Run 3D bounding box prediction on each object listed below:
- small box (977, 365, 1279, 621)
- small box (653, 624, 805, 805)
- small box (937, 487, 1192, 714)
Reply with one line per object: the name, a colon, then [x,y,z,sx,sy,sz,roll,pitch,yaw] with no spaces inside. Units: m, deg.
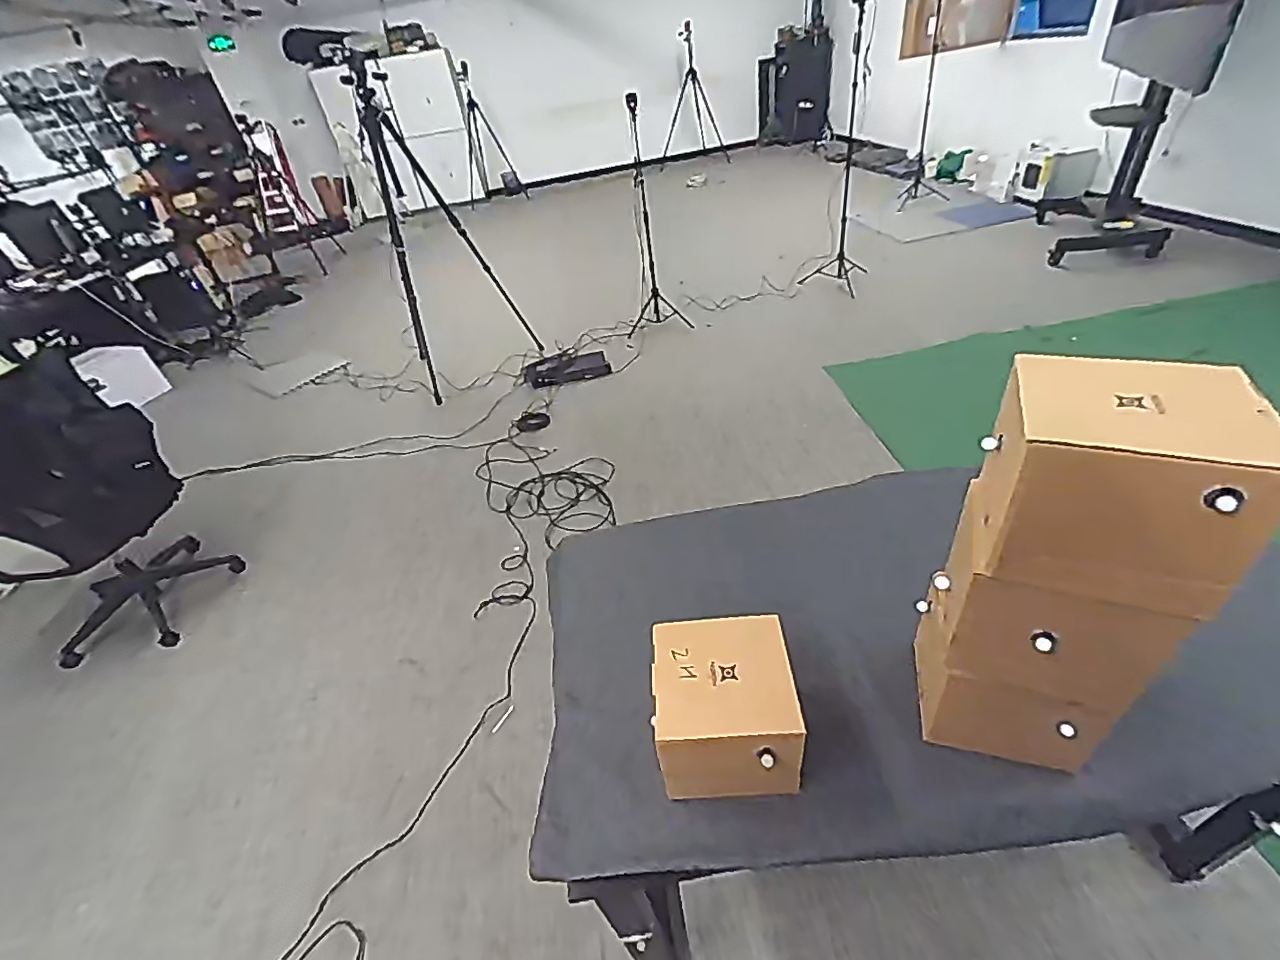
small box: [0.435,0.007,0.512,0.179,0.176,0.168,10,41,24]
small box: [0.113,0.316,0.727,0.179,0.176,0.168,-6,38,5]
small box: [0.455,0.134,0.612,0.179,0.176,0.168,10,41,25]
